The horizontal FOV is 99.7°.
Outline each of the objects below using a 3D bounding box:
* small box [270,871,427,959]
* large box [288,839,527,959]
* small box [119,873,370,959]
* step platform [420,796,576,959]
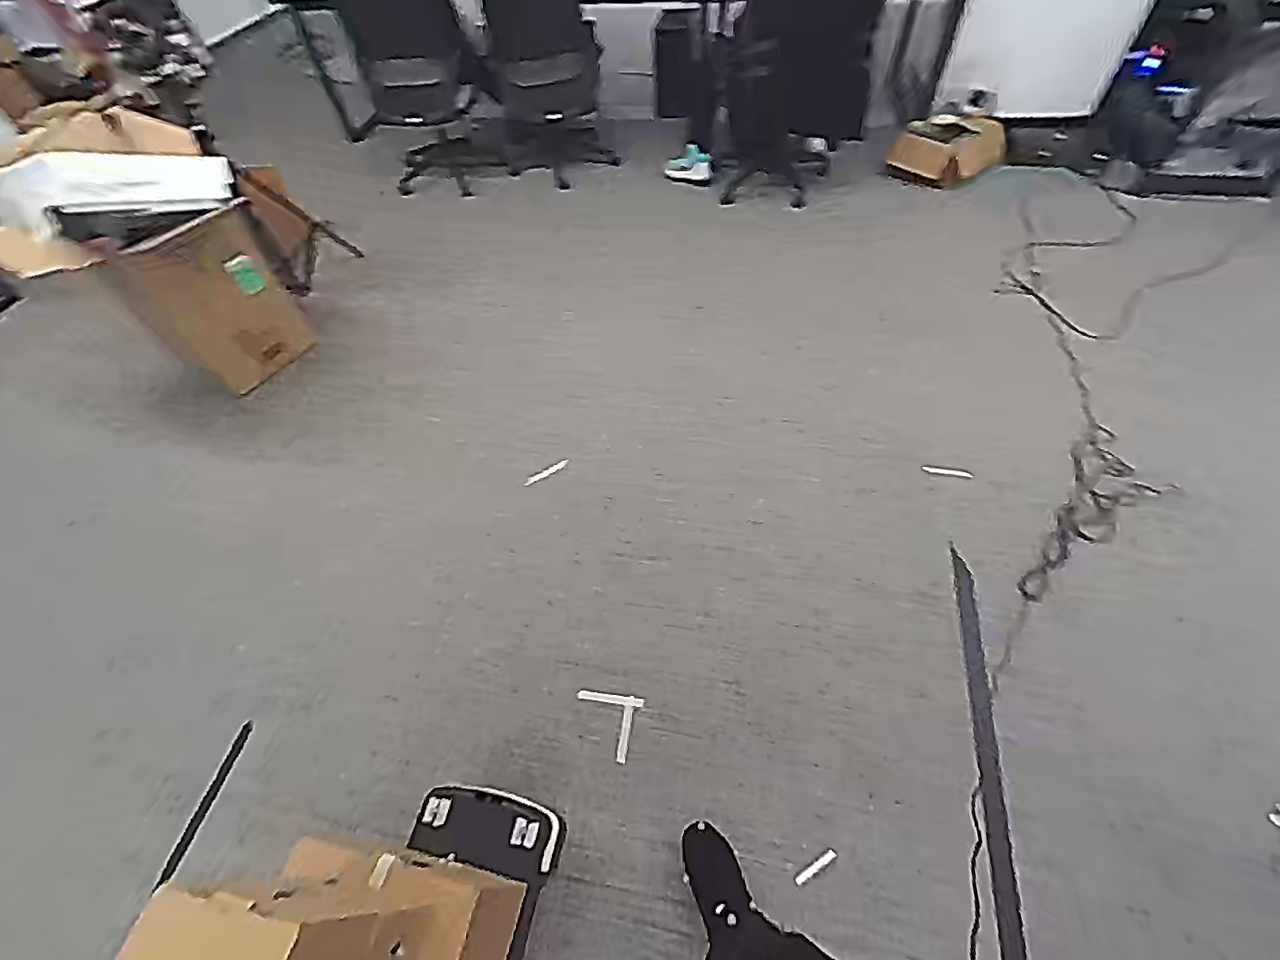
[{"bbox_3d":[-0.395,0.617,0.678,0.168,0.176,0.179,9,56,11],"label":"small box"},{"bbox_3d":[-0.407,0.822,0.833,0.320,0.320,0.408,8,56,11],"label":"large box"},{"bbox_3d":[-0.407,0.523,0.545,0.168,0.176,0.179,7,54,10],"label":"small box"},{"bbox_3d":[-0.372,0.989,1.004,0.286,0.204,0.684,12,57,13],"label":"step platform"}]
